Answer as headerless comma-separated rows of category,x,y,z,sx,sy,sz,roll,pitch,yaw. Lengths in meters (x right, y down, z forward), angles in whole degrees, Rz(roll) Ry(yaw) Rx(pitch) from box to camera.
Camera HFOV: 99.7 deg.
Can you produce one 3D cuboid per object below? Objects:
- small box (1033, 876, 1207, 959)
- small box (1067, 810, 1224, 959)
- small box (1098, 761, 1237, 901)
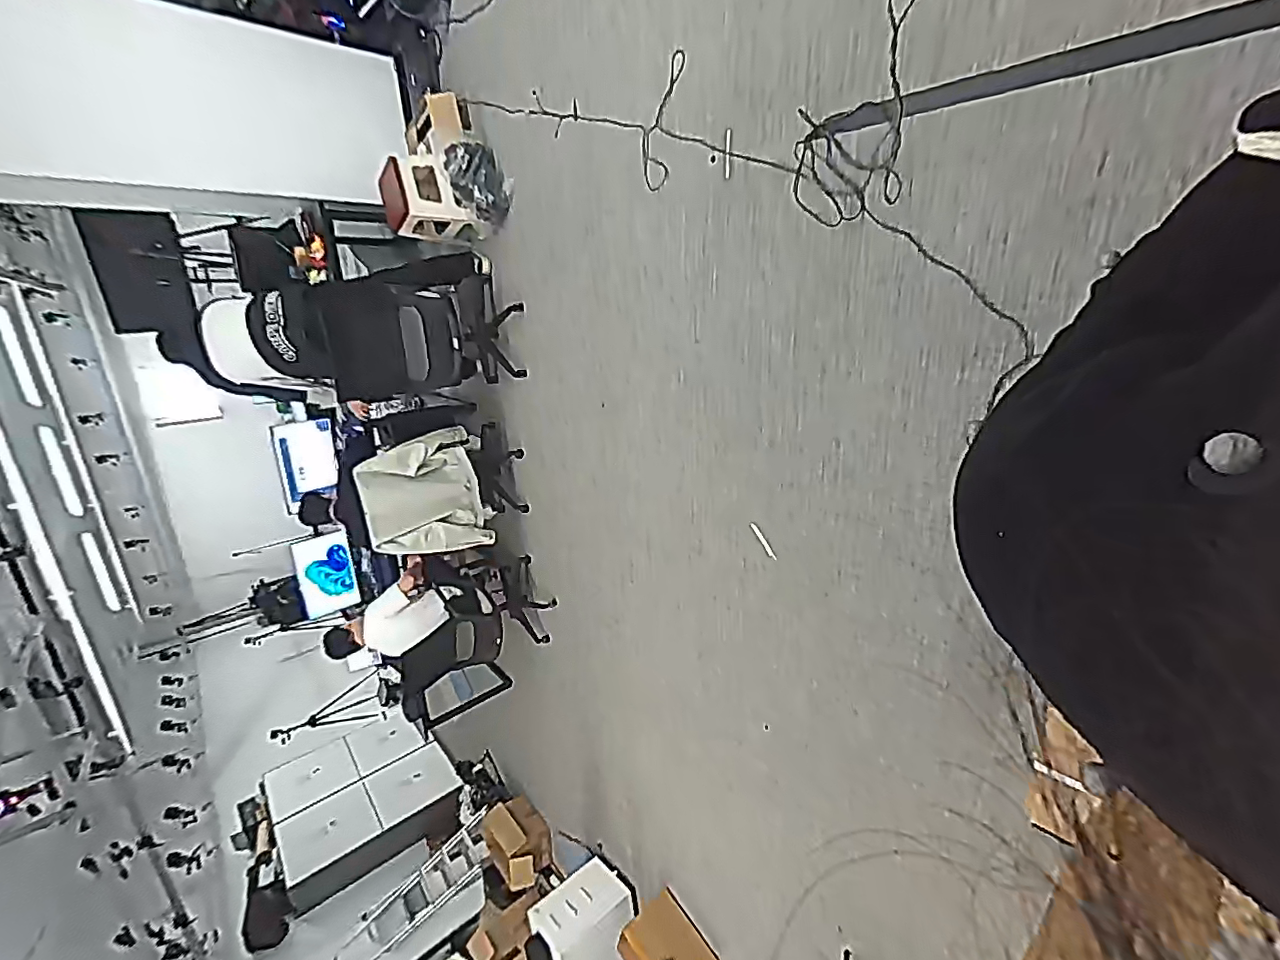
small box,0.682,0.730,0.772,0.168,0.176,0.179,9,109,51
small box,0.805,0.688,0.874,0.168,0.176,0.179,14,115,50
small box,0.931,0.657,0.970,0.168,0.176,0.179,15,114,48
